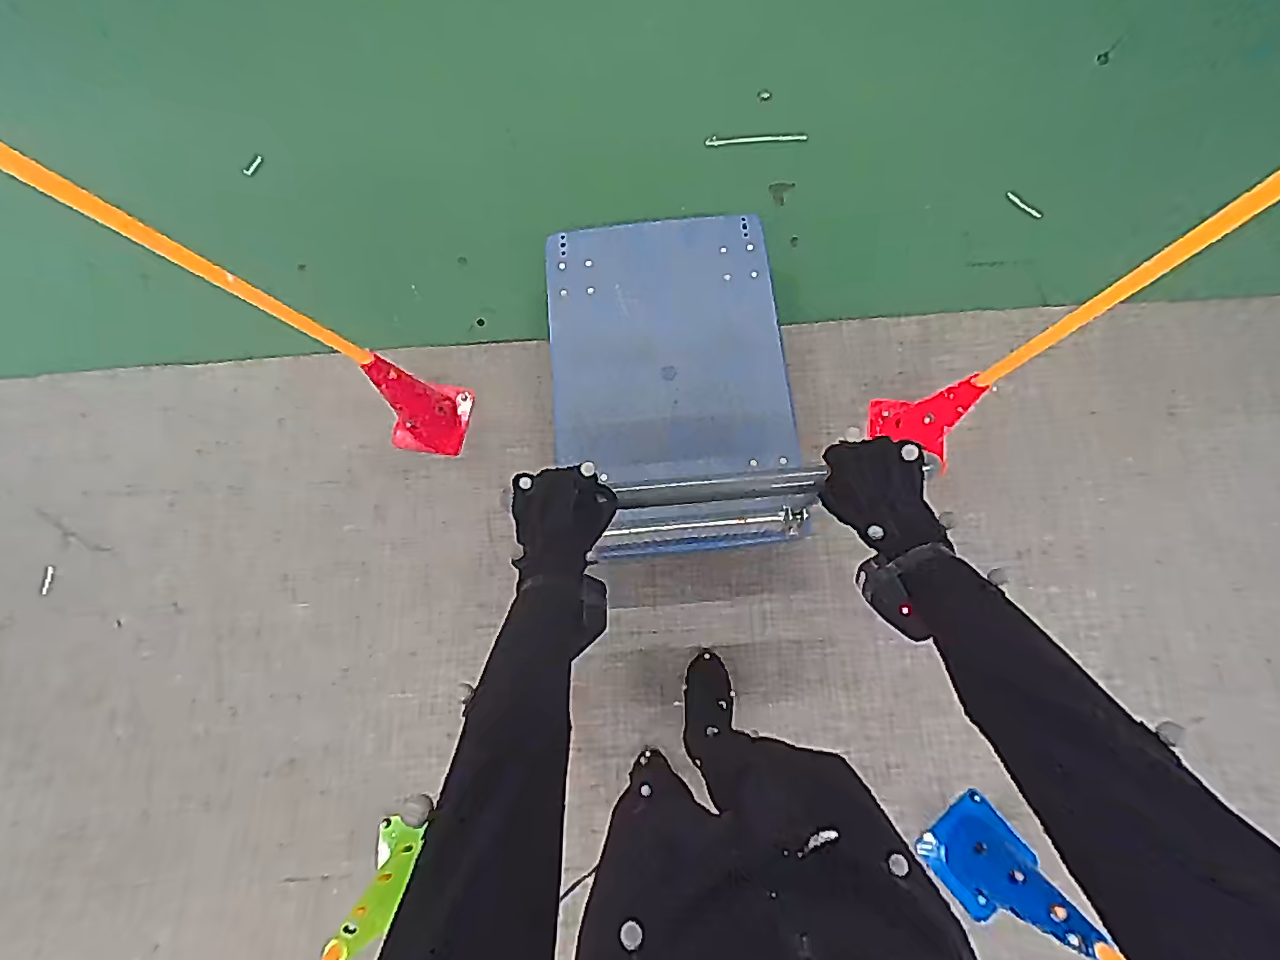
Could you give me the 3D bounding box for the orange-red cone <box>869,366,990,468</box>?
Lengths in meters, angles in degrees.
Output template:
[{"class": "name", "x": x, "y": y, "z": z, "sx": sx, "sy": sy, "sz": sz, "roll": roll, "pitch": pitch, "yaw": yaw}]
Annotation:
[{"class": "orange-red cone", "x": 0.703, "y": -0.173, "z": 1.266, "sx": 0.198, "sy": 0.360, "sz": 0.199, "roll": 7, "pitch": 78, "yaw": 5}]
